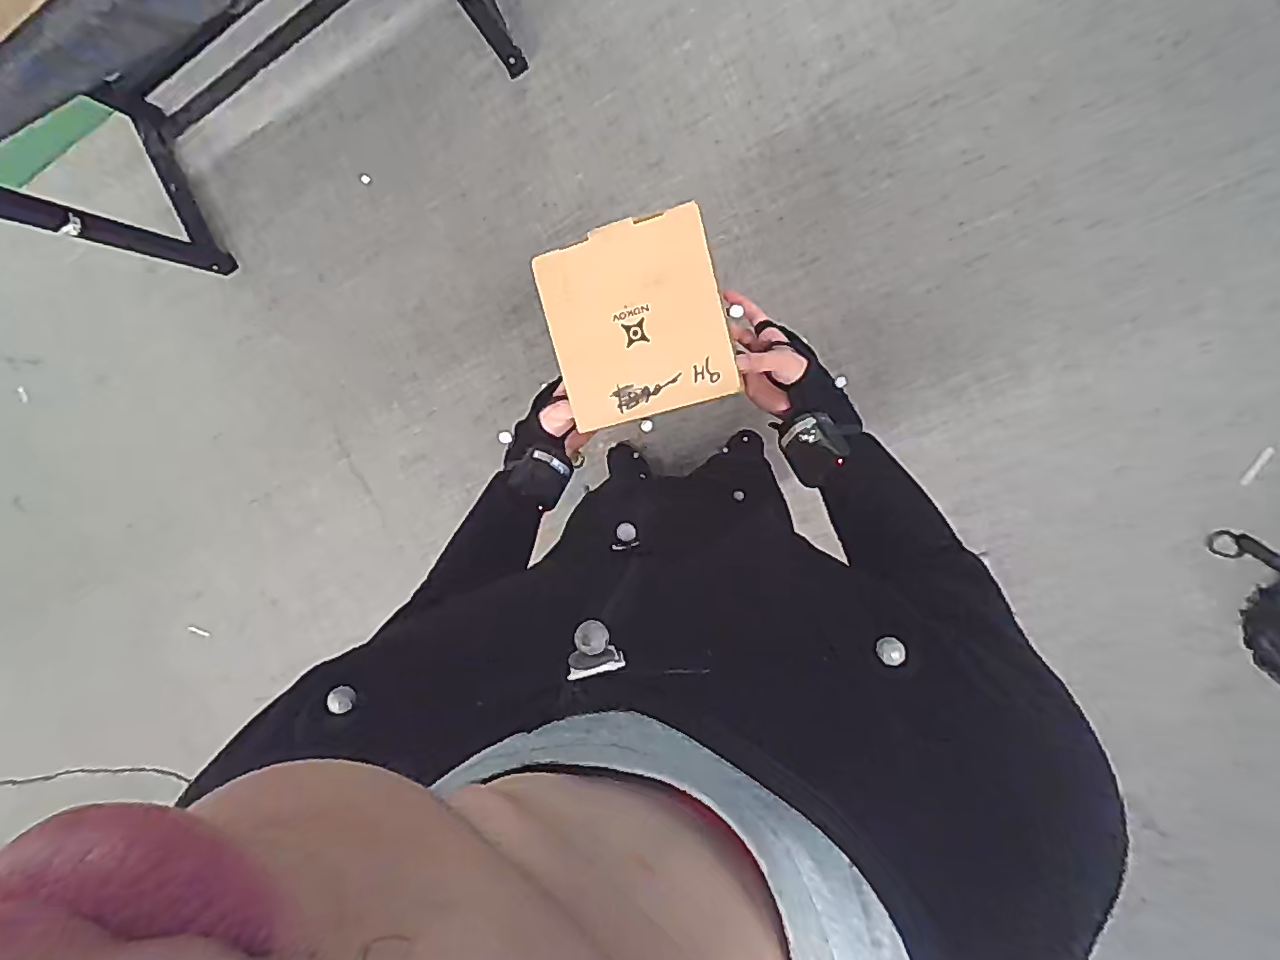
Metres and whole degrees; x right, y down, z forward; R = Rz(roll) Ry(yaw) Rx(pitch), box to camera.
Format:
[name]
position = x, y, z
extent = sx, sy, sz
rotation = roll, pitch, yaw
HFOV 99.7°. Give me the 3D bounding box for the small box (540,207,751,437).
[small box]
position = 0.018, -0.154, 0.583
extent = 0.168, 0.176, 0.179
rotation = -15, 96, 15
